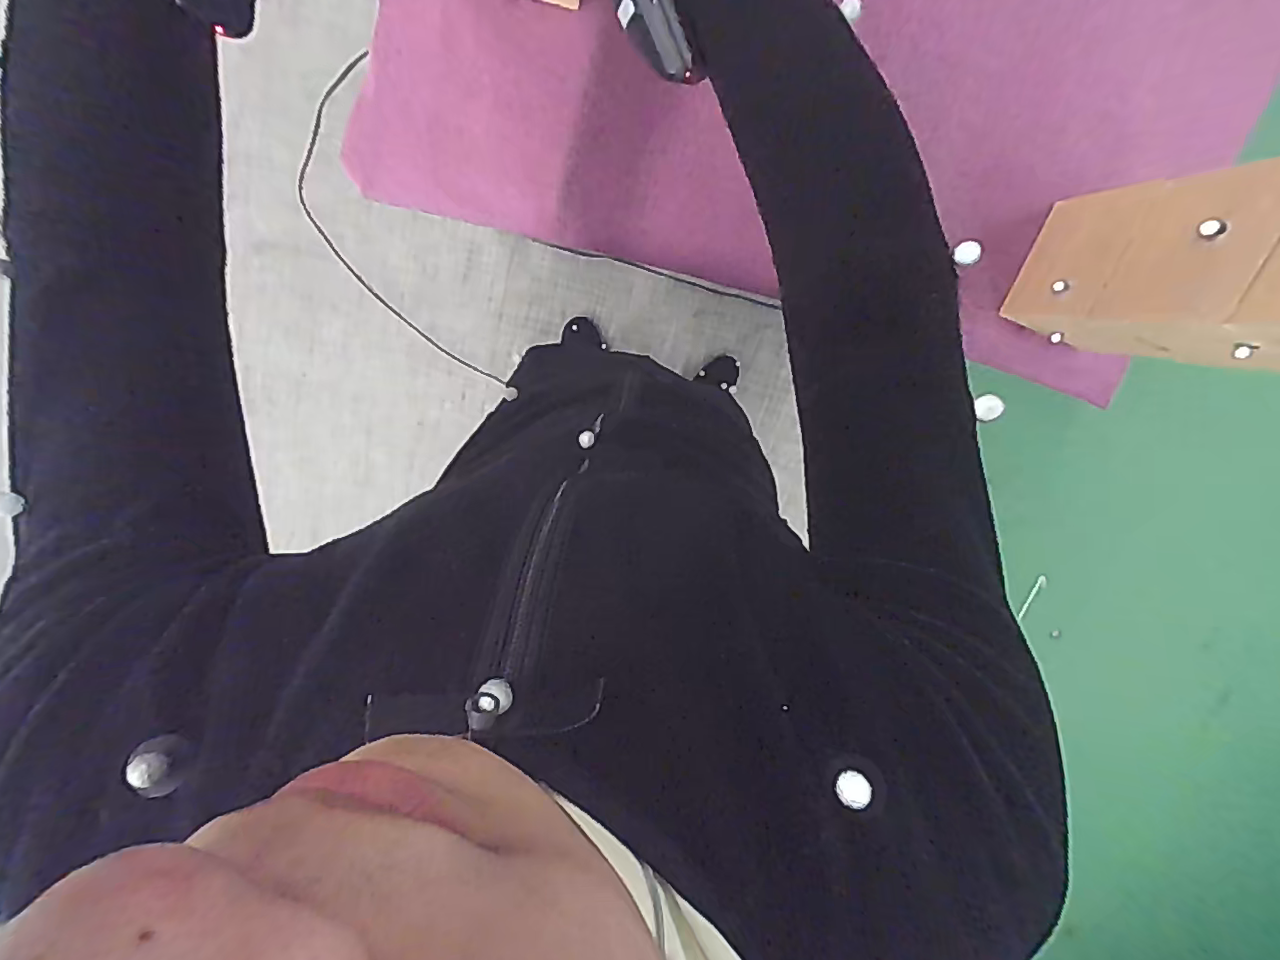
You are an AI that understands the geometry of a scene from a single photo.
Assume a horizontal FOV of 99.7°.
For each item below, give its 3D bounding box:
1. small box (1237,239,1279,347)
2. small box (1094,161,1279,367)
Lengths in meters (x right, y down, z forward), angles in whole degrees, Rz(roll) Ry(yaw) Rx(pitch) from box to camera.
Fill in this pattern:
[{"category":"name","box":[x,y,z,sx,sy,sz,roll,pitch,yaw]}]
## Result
[{"category":"small box","box":[0.699,-0.190,0.460,0.168,0.176,0.179,18,106,-9]},{"category":"small box","box":[0.685,-0.241,0.616,0.168,0.176,0.179,17,106,-9]}]
